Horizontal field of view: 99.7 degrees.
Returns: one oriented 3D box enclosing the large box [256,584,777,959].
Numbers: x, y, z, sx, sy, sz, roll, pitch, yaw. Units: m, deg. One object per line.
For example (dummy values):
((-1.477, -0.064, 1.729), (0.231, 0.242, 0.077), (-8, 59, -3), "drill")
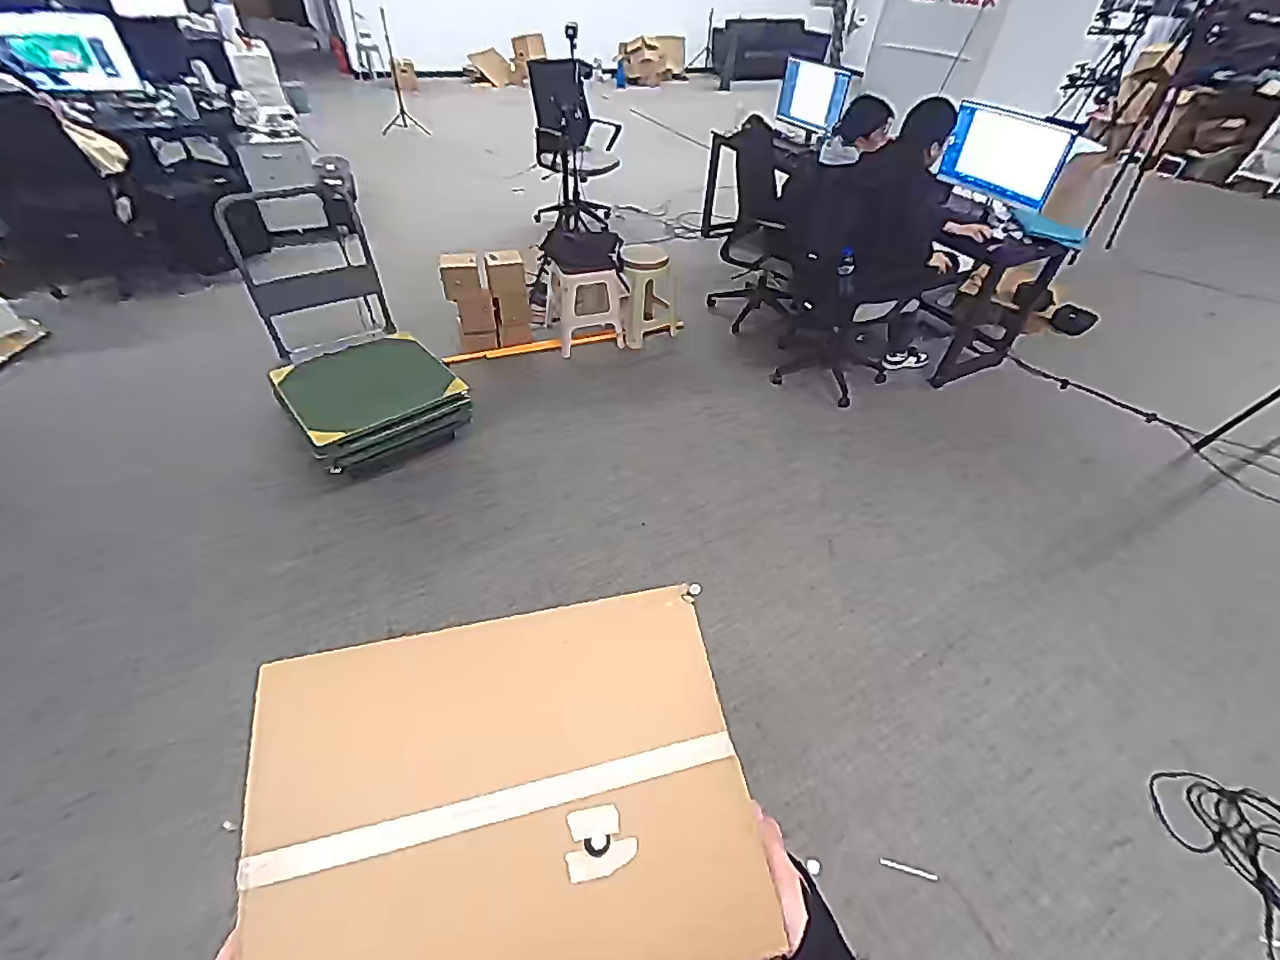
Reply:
((-0.130, 0.346, 0.600), (0.408, 0.320, 0.320), (-8, 63, -14), "large box")
